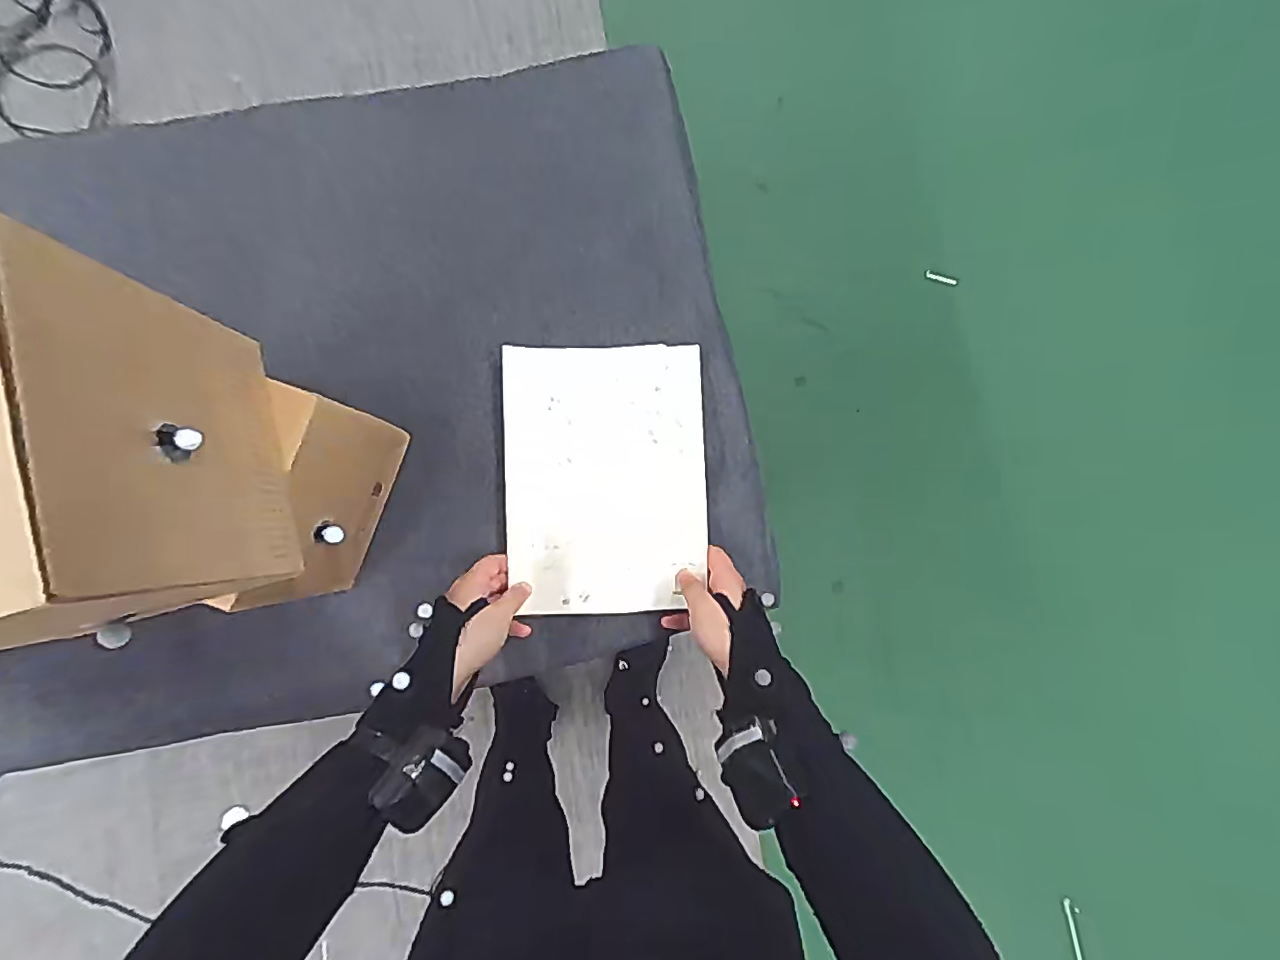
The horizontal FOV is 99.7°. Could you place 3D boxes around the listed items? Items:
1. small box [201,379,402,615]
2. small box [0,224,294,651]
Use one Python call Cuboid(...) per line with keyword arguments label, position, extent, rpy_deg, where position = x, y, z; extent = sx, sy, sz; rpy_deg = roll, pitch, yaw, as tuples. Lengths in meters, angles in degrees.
Cuboid(label="small box", position=(-0.340, -0.002, 0.465), extent=(0.179, 0.176, 0.168), rpy_deg=(19, 85, 2))
Cuboid(label="small box", position=(-0.334, -0.002, 0.300), extent=(0.168, 0.176, 0.179), rpy_deg=(-15, 85, -1))
